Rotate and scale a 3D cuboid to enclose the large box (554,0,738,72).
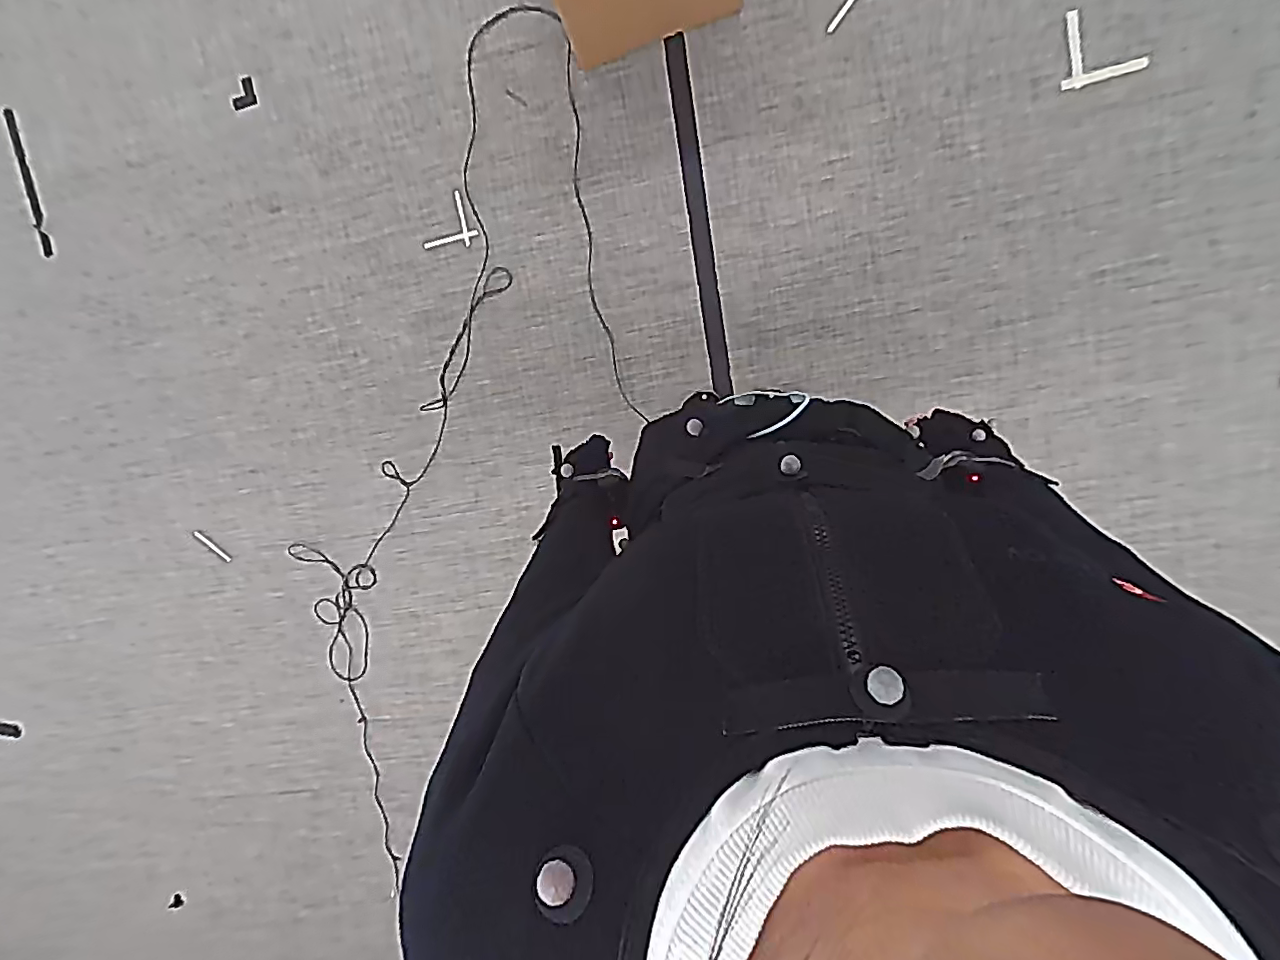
[{"bbox_3d":[-0.017,-1.164,1.128,0.408,0.320,0.320,-15,99,8],"label":"large box"}]
